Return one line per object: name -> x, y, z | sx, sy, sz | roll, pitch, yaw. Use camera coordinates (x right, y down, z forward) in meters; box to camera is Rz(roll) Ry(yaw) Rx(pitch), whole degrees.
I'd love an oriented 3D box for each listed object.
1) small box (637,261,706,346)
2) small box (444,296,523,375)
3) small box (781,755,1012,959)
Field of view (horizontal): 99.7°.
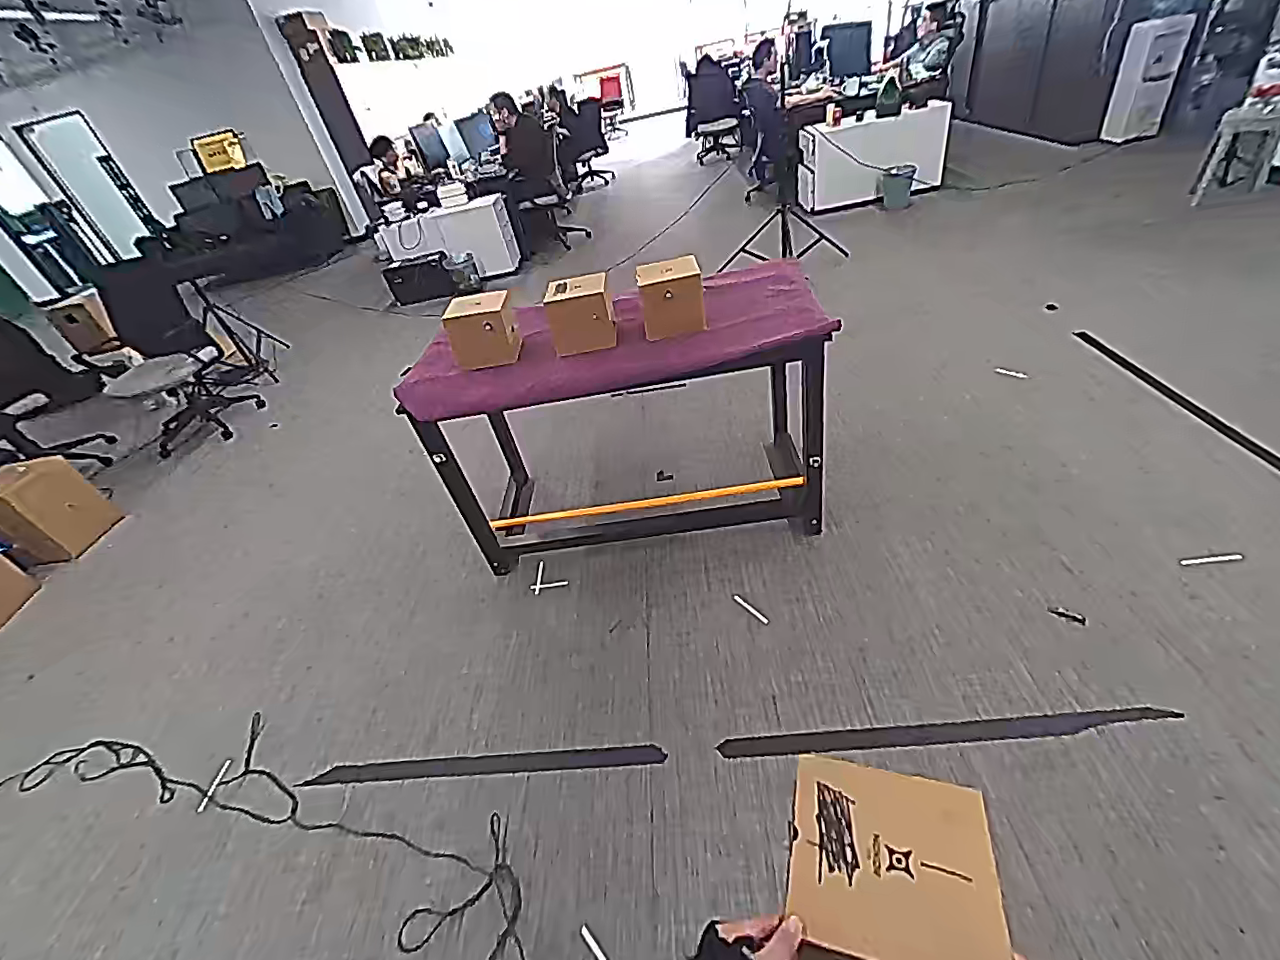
small box -> 0.094, -0.513, 1.577 | 0.179, 0.176, 0.168 | -10, 38, 5
small box -> -0.466, -0.439, 1.646 | 0.179, 0.176, 0.168 | -8, 38, 3
small box -> 0.238, 0.411, 0.533 | 0.179, 0.176, 0.168 | 3, 34, 19
